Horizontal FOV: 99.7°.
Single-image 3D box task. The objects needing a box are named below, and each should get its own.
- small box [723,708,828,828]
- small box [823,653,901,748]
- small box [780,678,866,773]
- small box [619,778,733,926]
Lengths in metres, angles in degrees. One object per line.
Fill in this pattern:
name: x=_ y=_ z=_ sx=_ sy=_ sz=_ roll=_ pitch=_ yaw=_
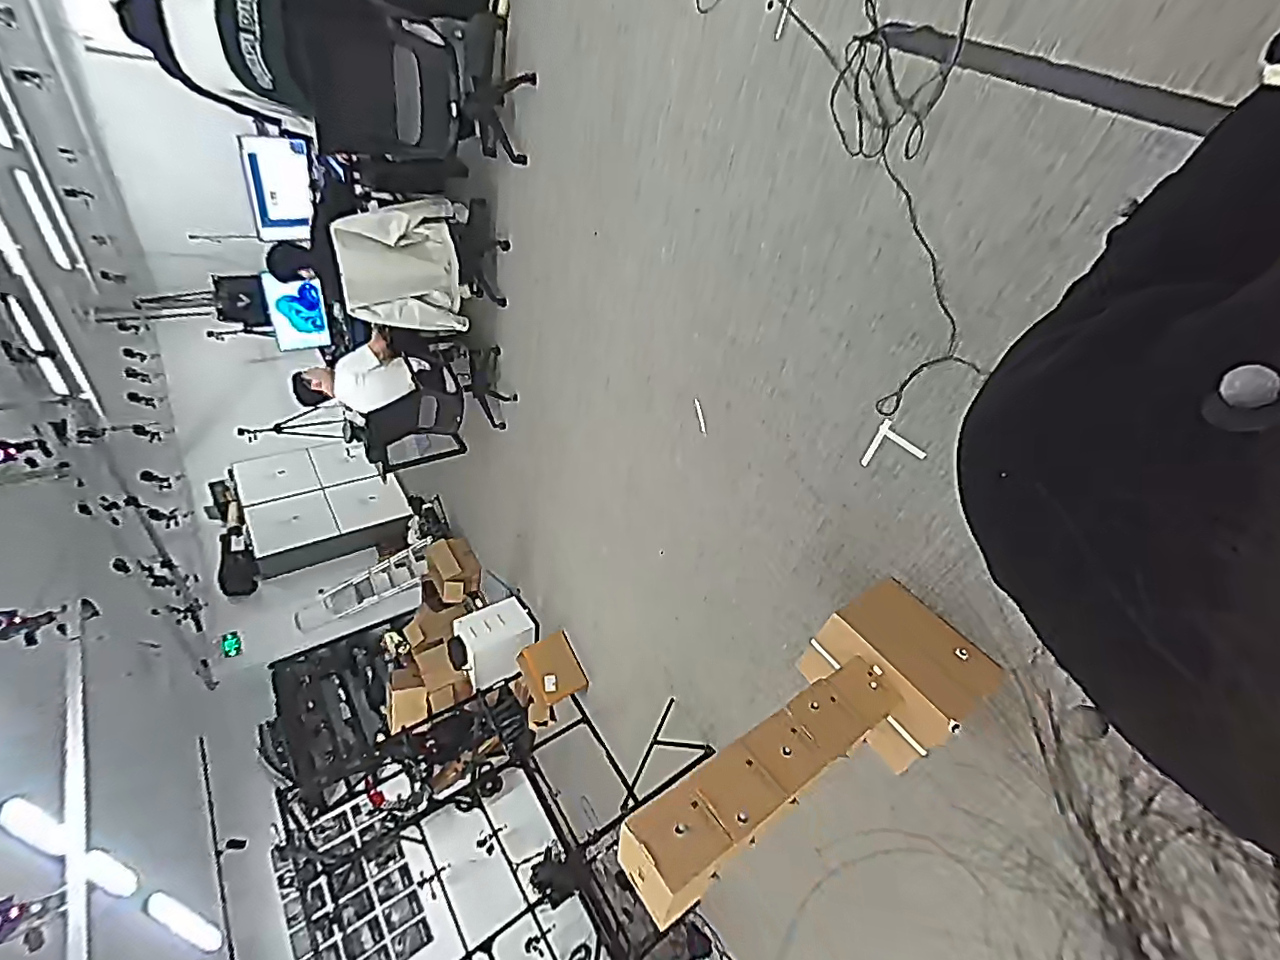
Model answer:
small box: x=0.337 y=0.709 z=1.345 sx=0.168 sy=0.176 sz=0.179 roll=43 pitch=136 yaw=39
small box: x=0.597 y=0.627 z=1.526 sx=0.168 sy=0.176 sz=0.179 roll=46 pitch=138 yaw=33
small box: x=0.467 y=0.661 z=1.436 sx=0.168 sy=0.176 sz=0.179 roll=46 pitch=139 yaw=35
small box: x=0.077 y=0.788 z=1.163 sx=0.168 sy=0.176 sz=0.179 roll=39 pitch=133 yaw=41
